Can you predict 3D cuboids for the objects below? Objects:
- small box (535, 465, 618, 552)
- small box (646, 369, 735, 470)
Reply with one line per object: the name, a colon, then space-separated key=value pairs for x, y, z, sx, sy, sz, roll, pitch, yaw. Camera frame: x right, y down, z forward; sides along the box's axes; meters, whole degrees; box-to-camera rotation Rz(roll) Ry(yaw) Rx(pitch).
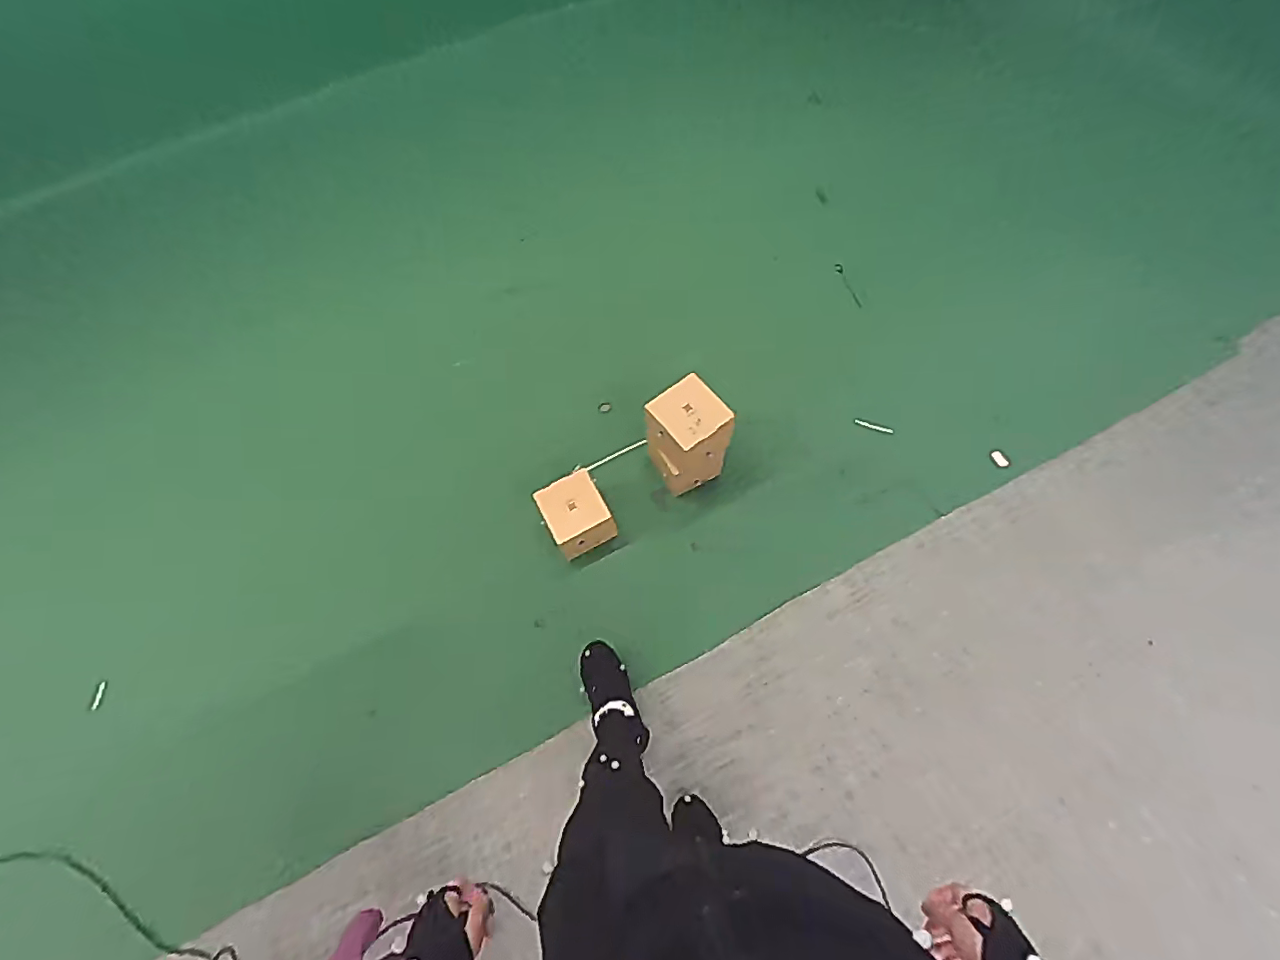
small box: x=-0.177 y=0.091 z=1.566 sx=0.168 sy=0.176 sz=0.179 roll=-28 pitch=67 yaw=-7
small box: x=0.135 y=-0.159 z=1.468 sx=0.168 sy=0.176 sz=0.179 roll=-36 pitch=69 yaw=-10
